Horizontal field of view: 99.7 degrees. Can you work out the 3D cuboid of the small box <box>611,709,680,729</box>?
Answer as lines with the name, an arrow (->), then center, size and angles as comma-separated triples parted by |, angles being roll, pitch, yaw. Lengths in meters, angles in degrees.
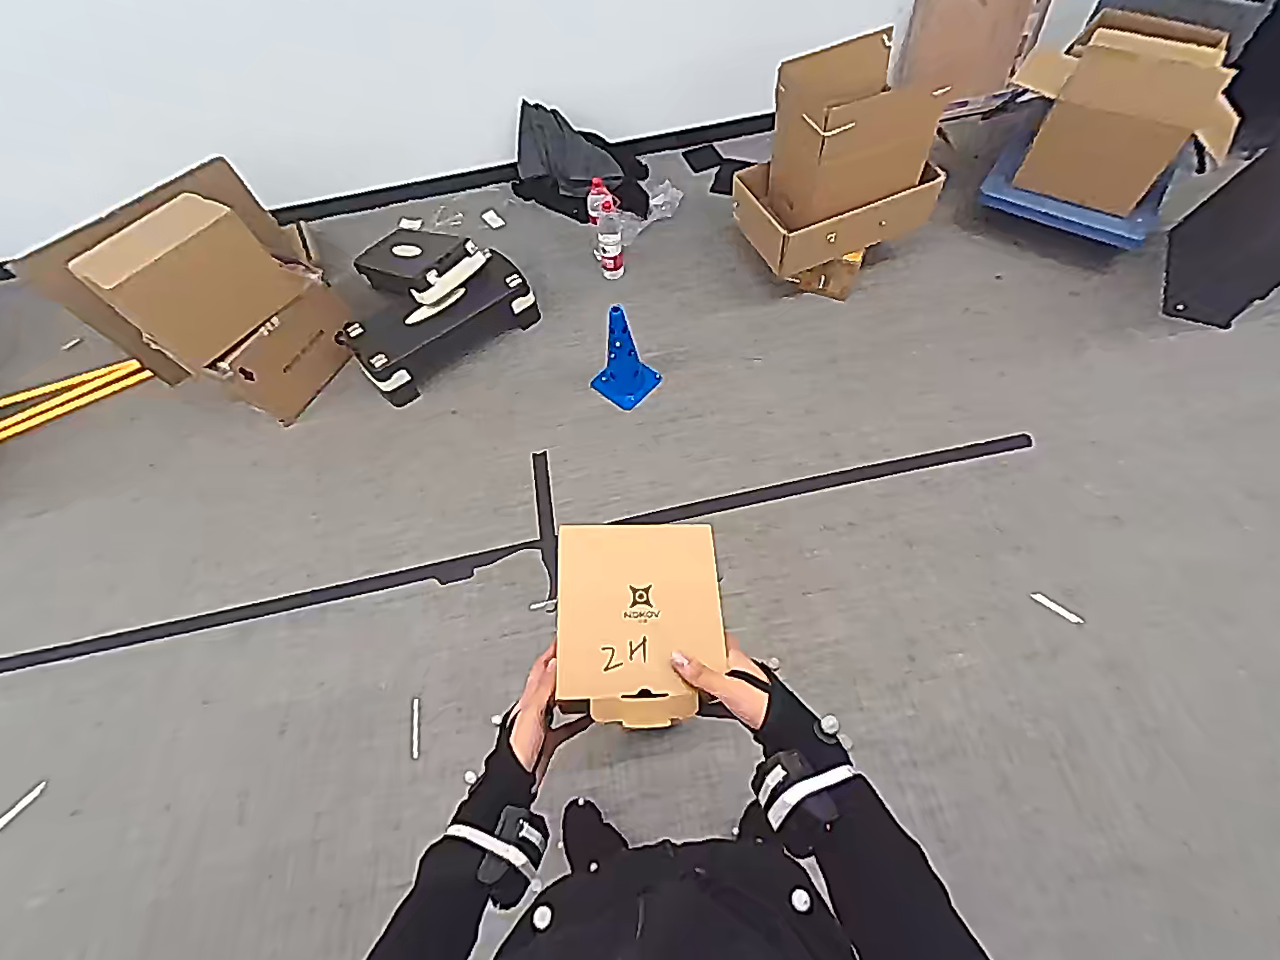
small box -> 0.012, 0.548, 1.411 | 0.168, 0.176, 0.179 | -8, 61, 0

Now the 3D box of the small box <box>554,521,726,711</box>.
small box -> -0.009, 0.159, 0.612 | 0.168, 0.176, 0.179 | 1, 63, -6
